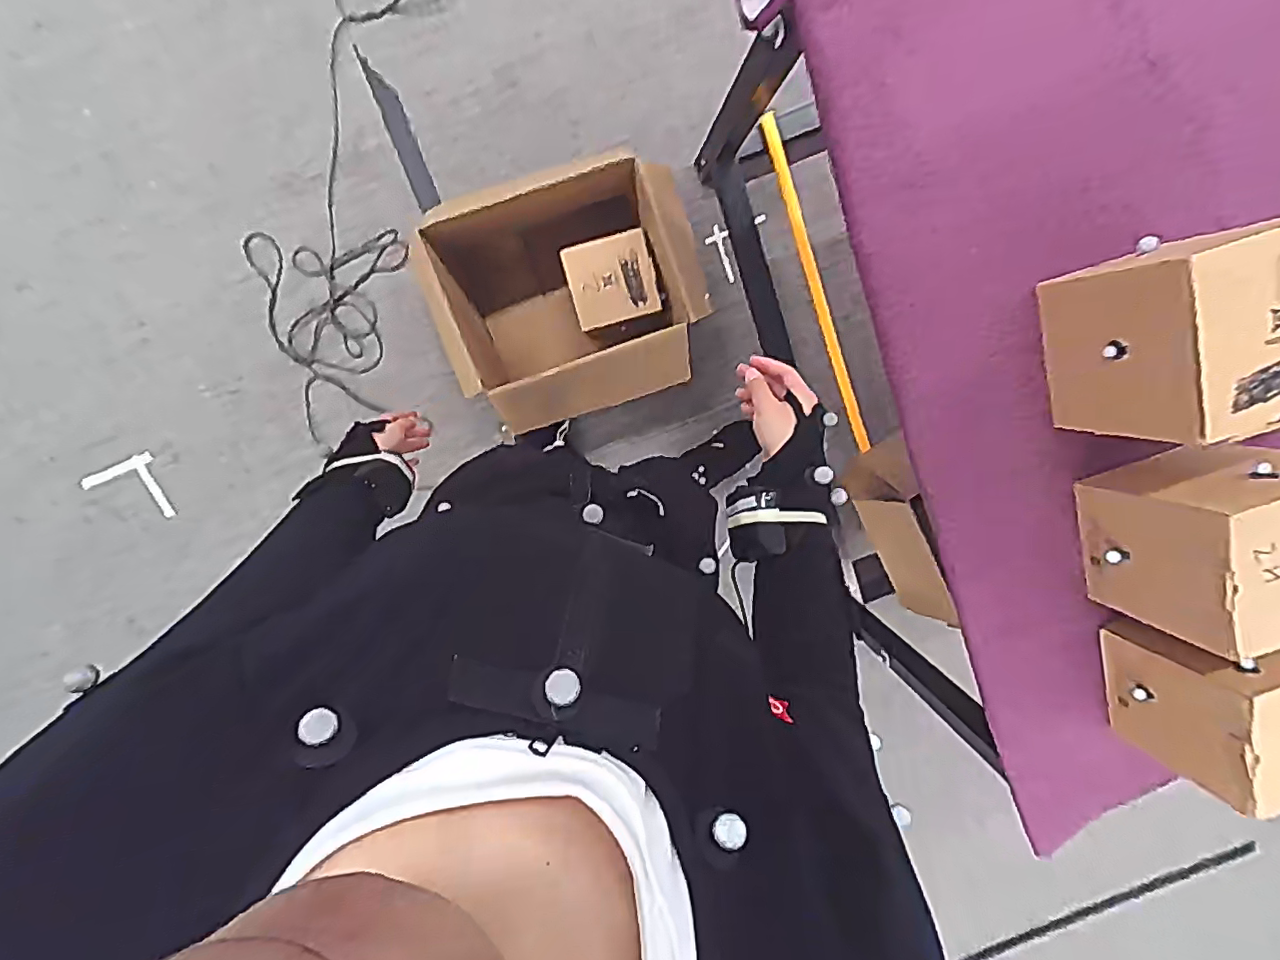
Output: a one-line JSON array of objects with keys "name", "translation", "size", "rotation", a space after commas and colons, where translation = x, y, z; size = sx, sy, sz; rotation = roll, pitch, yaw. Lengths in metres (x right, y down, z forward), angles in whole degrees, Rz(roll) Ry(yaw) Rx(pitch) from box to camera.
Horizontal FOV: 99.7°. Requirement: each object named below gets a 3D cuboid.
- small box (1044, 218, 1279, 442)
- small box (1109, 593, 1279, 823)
[{"name": "small box", "translation": [0.565, -0.153, 0.558], "size": [0.168, 0.176, 0.179], "rotation": [-17, 101, -1]}, {"name": "small box", "translation": [0.729, 0.259, 0.655], "size": [0.179, 0.176, 0.168], "rotation": [-17, 102, -2]}]
